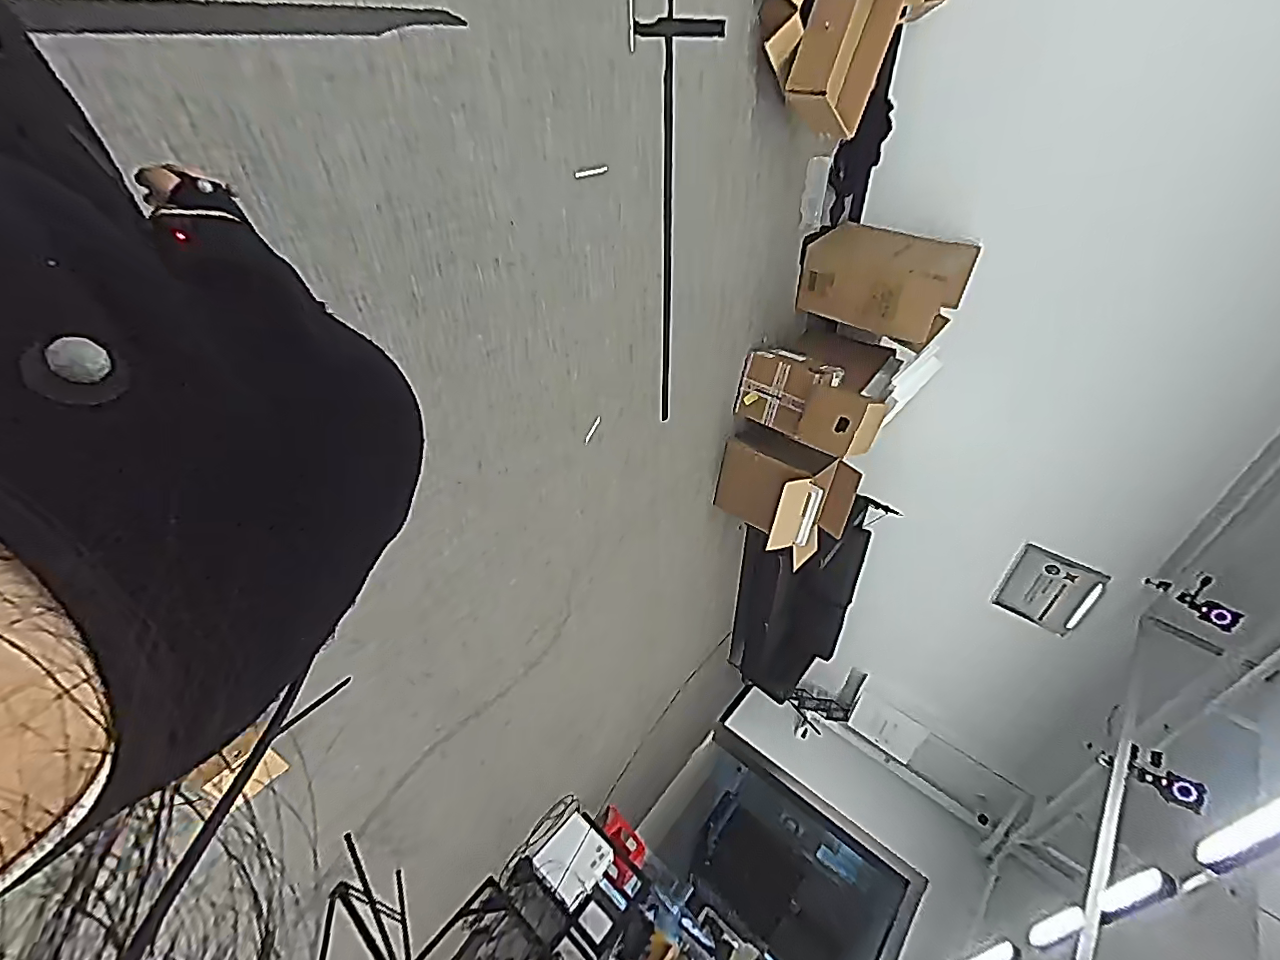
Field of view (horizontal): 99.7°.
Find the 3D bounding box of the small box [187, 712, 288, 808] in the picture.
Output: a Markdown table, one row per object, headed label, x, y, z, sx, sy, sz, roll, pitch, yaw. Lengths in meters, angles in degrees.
| label | x | y | z | sx | sy | sz | roll | pitch | yaw |
| --- | --- | --- | --- | --- | --- | --- | --- | --- | --- |
| small box | -1.221 | 0.844 | 1.643 | 0.168 | 0.176 | 0.179 | -38 | 143 | -34 |
